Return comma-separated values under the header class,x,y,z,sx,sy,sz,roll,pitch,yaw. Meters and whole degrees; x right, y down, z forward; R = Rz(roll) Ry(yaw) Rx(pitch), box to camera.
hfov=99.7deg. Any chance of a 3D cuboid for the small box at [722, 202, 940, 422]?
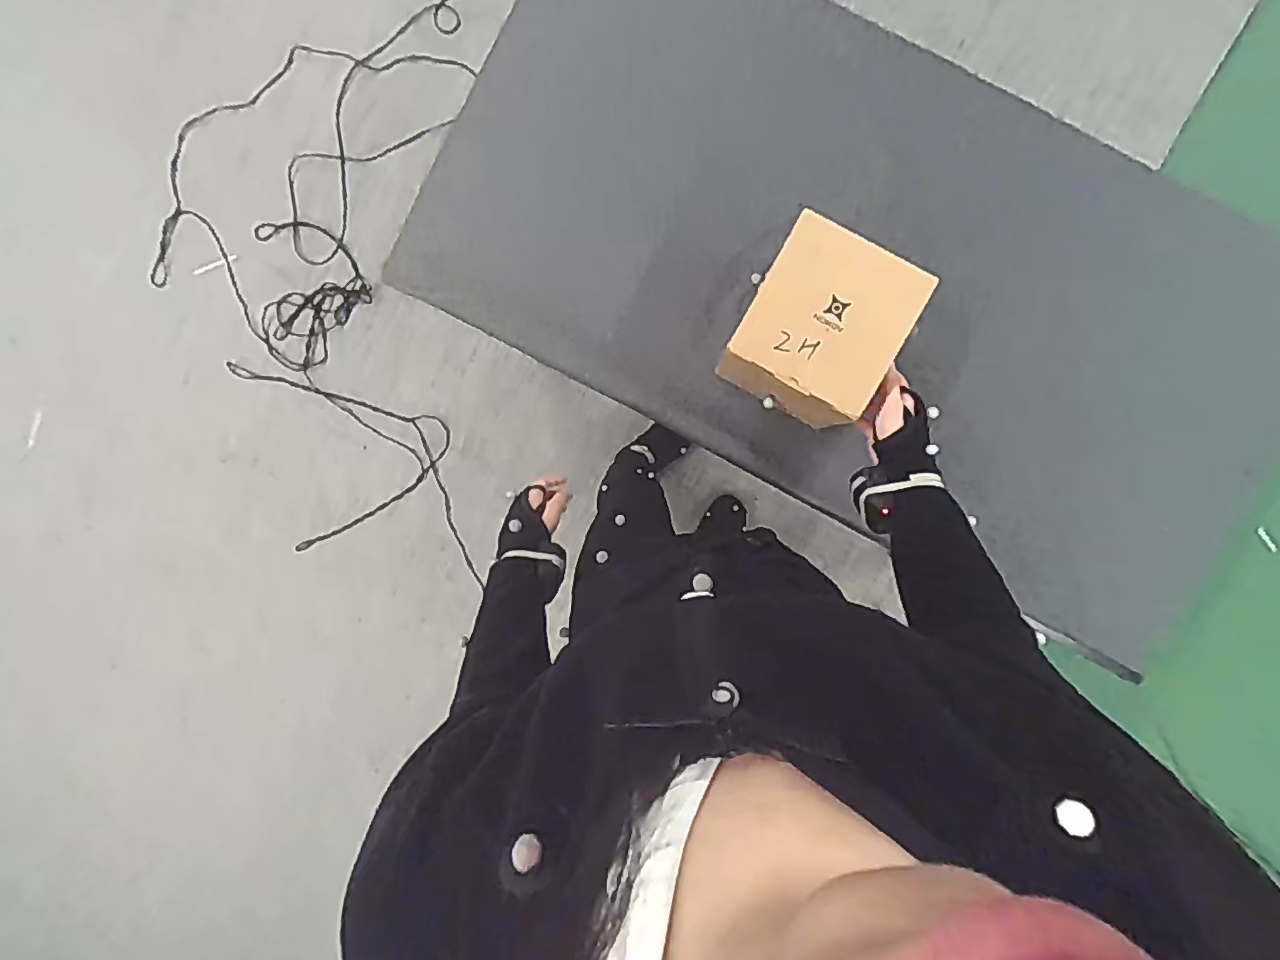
class,x,y,z,sx,sy,sz,roll,pitch,yaw
small box,0.211,-0.186,0.656,0.168,0.176,0.179,29,94,3
